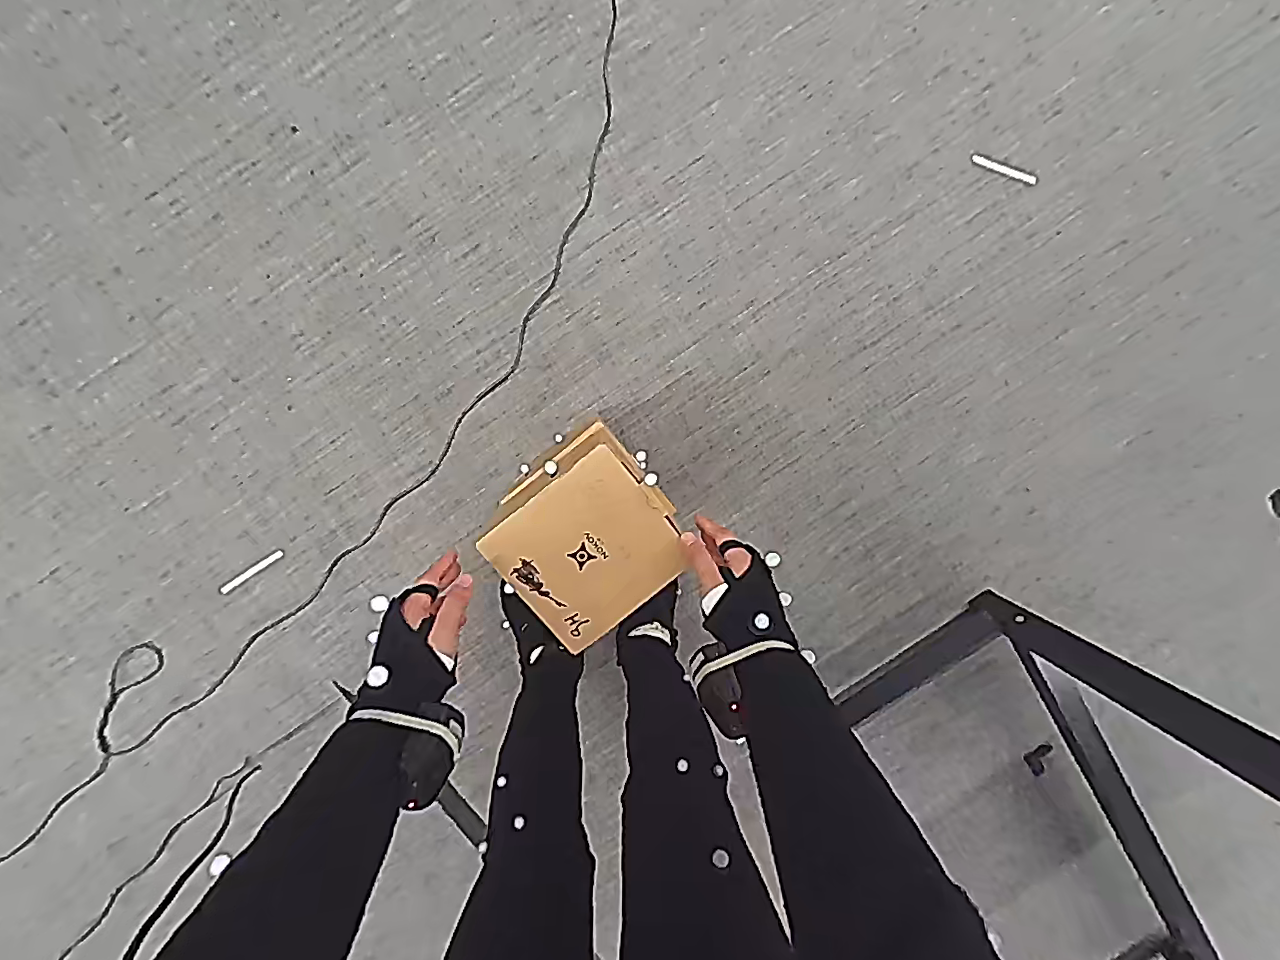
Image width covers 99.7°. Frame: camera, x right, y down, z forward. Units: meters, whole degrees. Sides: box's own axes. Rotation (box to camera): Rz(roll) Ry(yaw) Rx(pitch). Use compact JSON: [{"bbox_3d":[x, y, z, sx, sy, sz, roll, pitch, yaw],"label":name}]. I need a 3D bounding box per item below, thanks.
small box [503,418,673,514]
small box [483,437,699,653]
[{"bbox_3d":[-0.076,0.024,0.812,0.179,0.176,0.168,-42,102,1],"label":"small box"},{"bbox_3d":[-0.060,0.063,0.652,0.179,0.176,0.168,-39,101,1],"label":"small box"}]
